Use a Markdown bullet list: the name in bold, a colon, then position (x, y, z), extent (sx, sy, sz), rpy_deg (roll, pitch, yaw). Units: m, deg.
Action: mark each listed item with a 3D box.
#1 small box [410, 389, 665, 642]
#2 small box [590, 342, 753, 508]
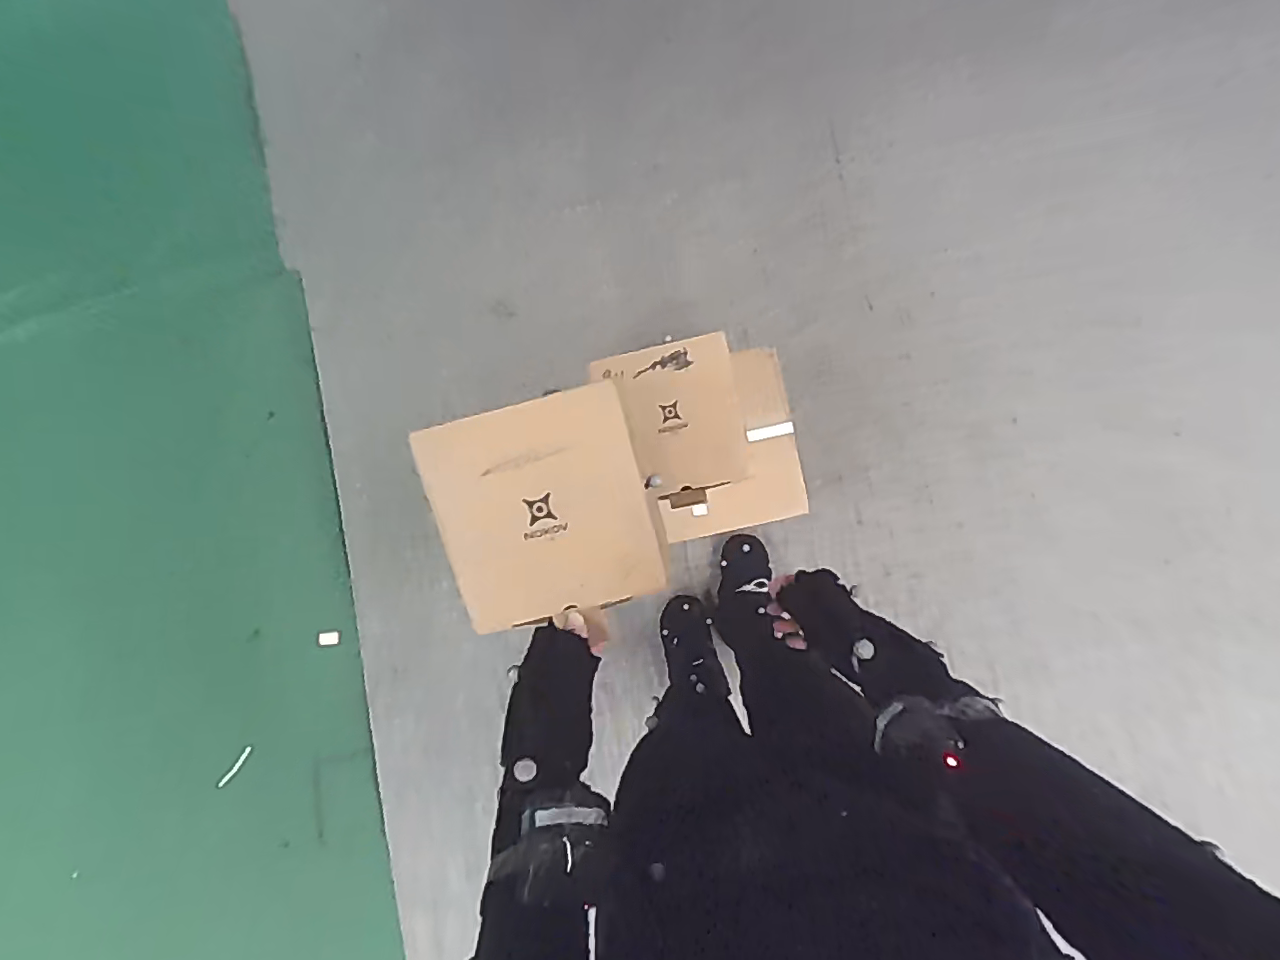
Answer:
- **small box**: position (-0.077, 0.019, 0.507), extent (0.168, 0.176, 0.179), rpy_deg (-16, 99, 3)
- **small box**: position (0.042, -0.065, 0.712), extent (0.168, 0.176, 0.179), rpy_deg (-12, 92, 3)
